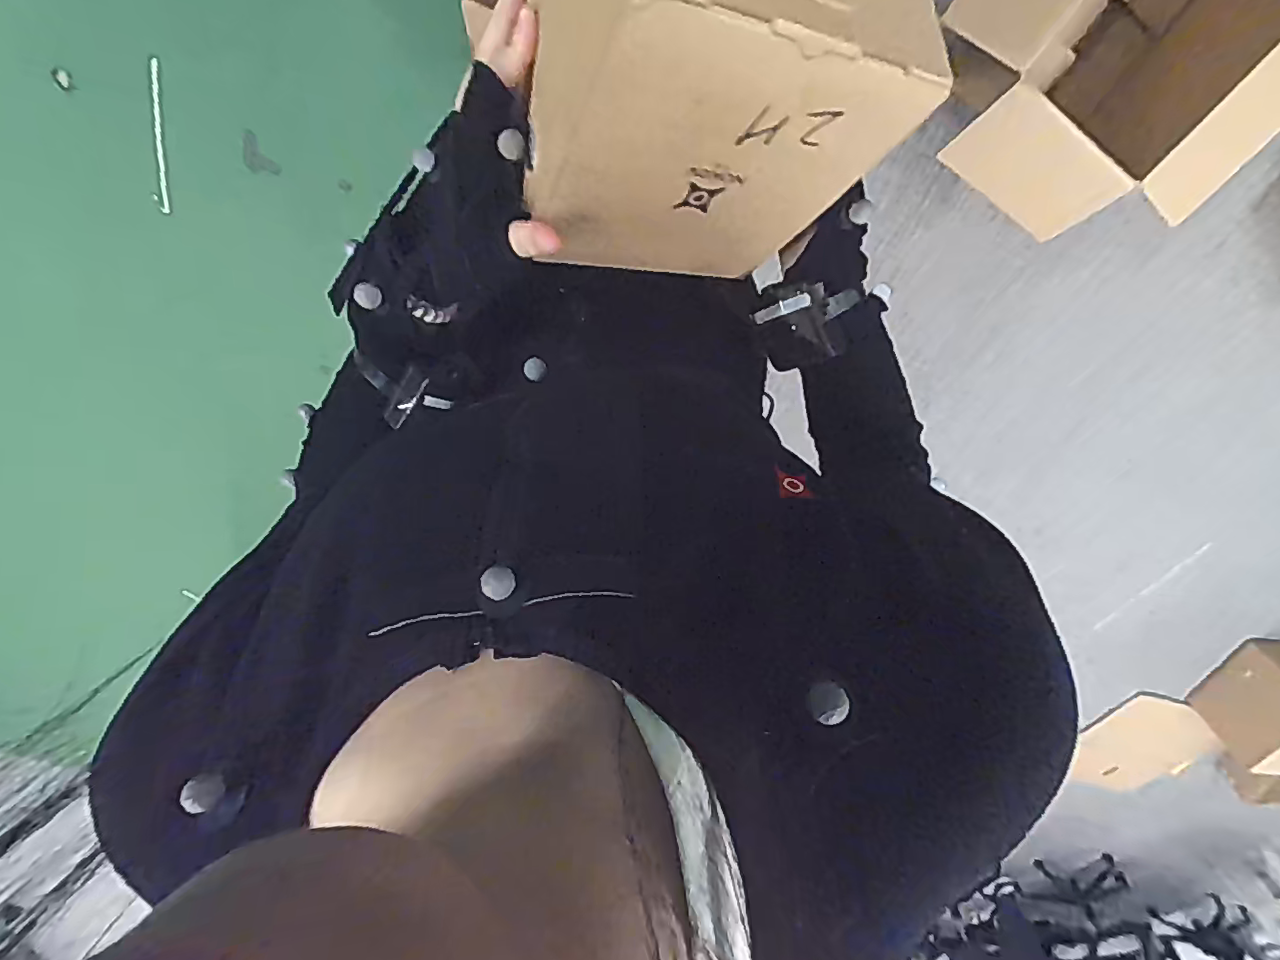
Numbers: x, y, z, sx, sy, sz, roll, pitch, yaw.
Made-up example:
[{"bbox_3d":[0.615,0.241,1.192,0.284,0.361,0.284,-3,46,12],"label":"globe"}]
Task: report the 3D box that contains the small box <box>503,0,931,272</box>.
[{"bbox_3d":[0.021,-0.245,0.305,0.168,0.176,0.179,-5,171,-23],"label":"small box"}]
